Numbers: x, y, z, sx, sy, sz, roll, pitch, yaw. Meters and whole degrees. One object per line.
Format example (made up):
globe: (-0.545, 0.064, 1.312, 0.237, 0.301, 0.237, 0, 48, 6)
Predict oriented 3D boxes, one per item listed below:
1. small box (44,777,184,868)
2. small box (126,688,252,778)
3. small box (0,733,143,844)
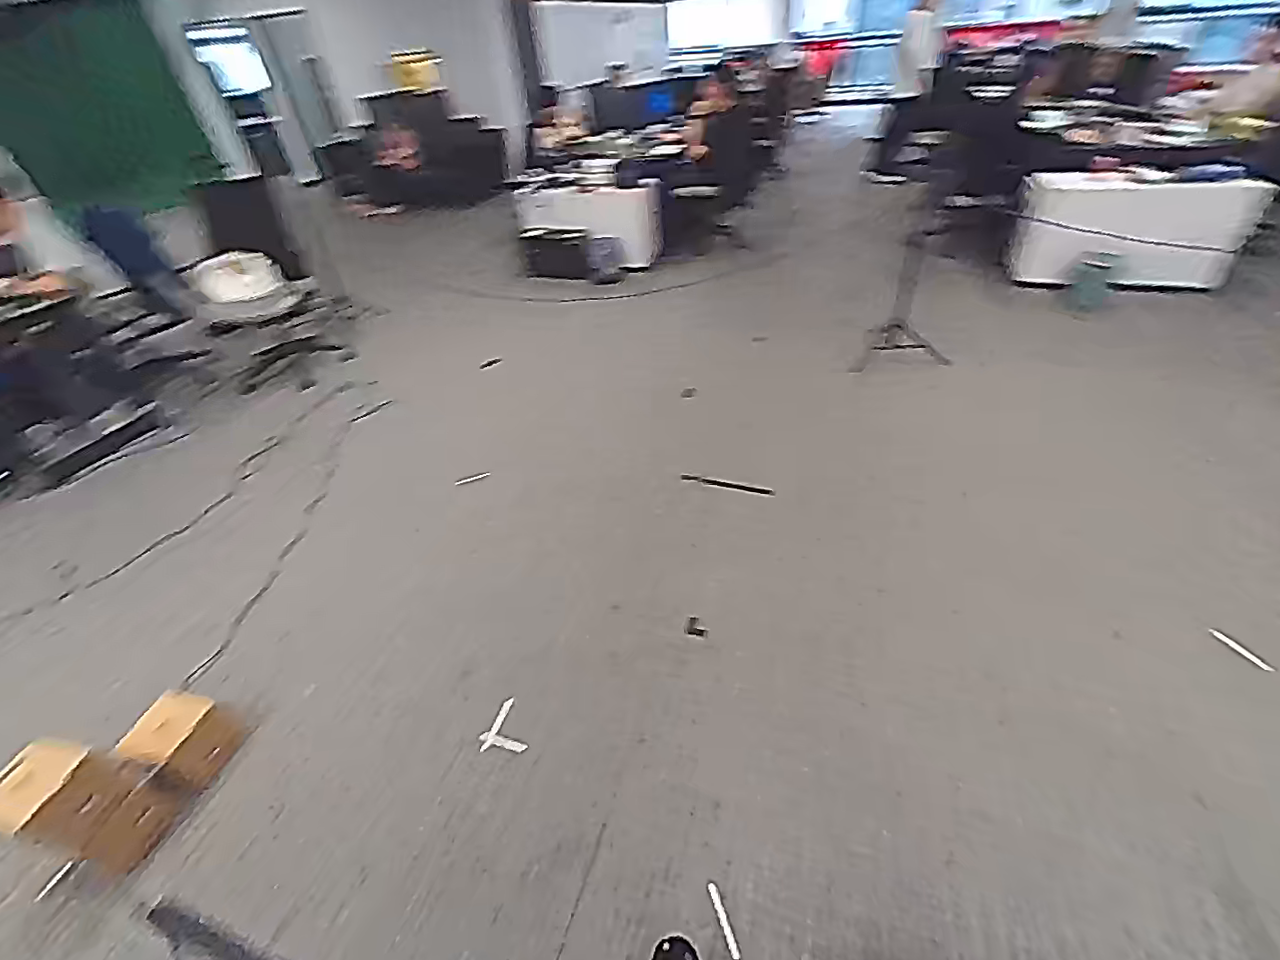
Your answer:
small box: (-1.328, 0.853, 1.372, 0.179, 0.176, 0.168, 6, 41, 14)
small box: (-1.263, 0.716, 1.527, 0.179, 0.176, 0.168, 4, 41, 11)
small box: (-1.346, 0.726, 1.269, 0.179, 0.176, 0.168, 4, 40, 10)
